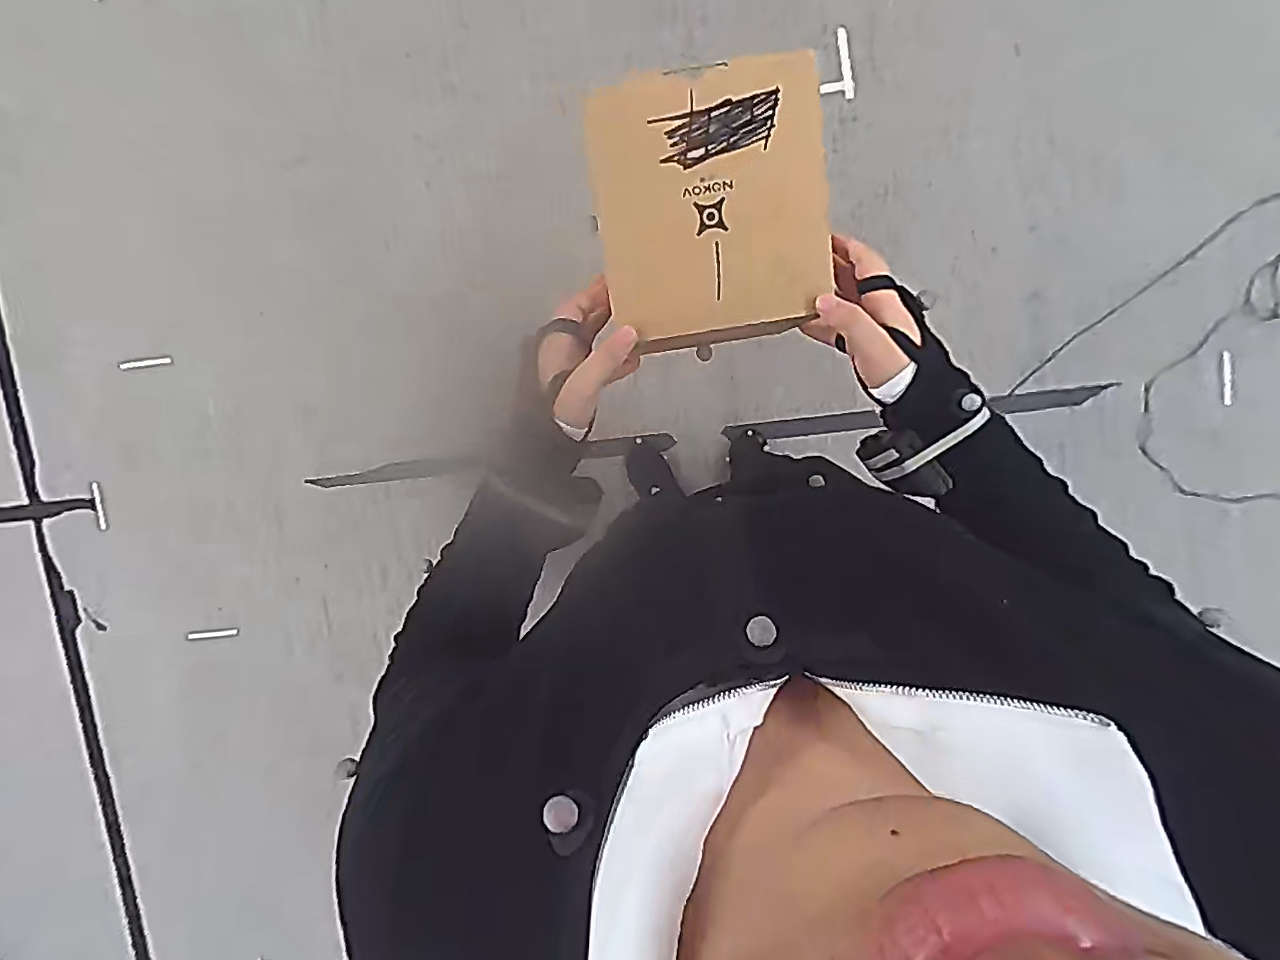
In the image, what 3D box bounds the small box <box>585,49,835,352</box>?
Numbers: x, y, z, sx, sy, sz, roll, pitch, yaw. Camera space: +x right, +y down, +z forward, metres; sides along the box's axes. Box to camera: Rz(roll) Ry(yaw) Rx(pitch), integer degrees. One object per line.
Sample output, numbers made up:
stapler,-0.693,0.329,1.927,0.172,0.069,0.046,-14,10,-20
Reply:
small box,0.052,-0.214,0.465,0.168,0.176,0.179,-8,100,3
